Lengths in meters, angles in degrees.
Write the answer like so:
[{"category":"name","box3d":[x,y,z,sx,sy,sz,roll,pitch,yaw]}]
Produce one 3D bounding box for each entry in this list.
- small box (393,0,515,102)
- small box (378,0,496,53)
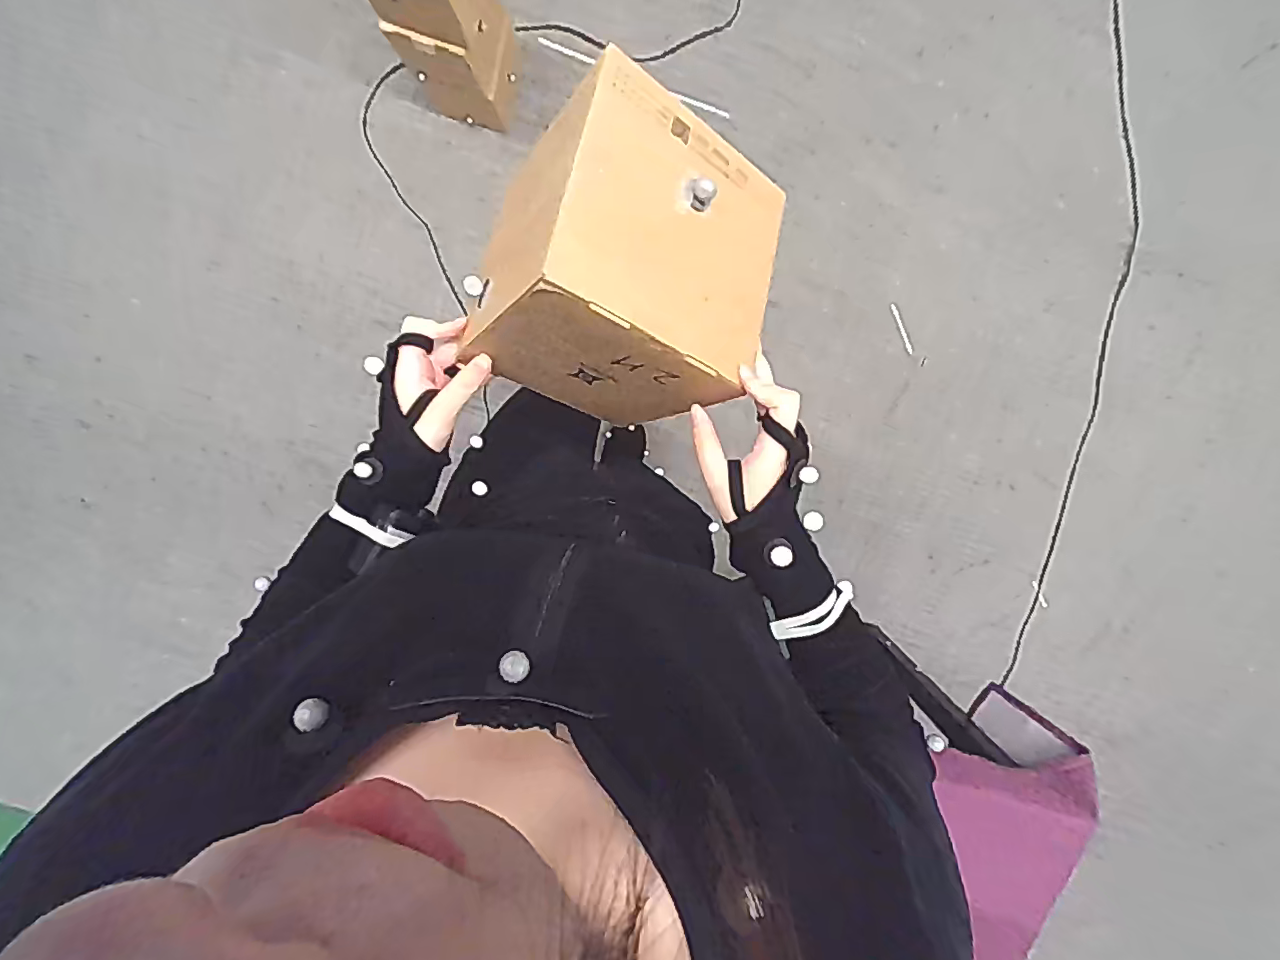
[{"category":"small box","box3d":[-0.361,-0.903,1.078,0.168,0.176,0.179,16,100,-3]},{"category":"small box","box3d":[-0.348,-0.875,0.918,0.179,0.176,0.168,17,100,-1]}]
